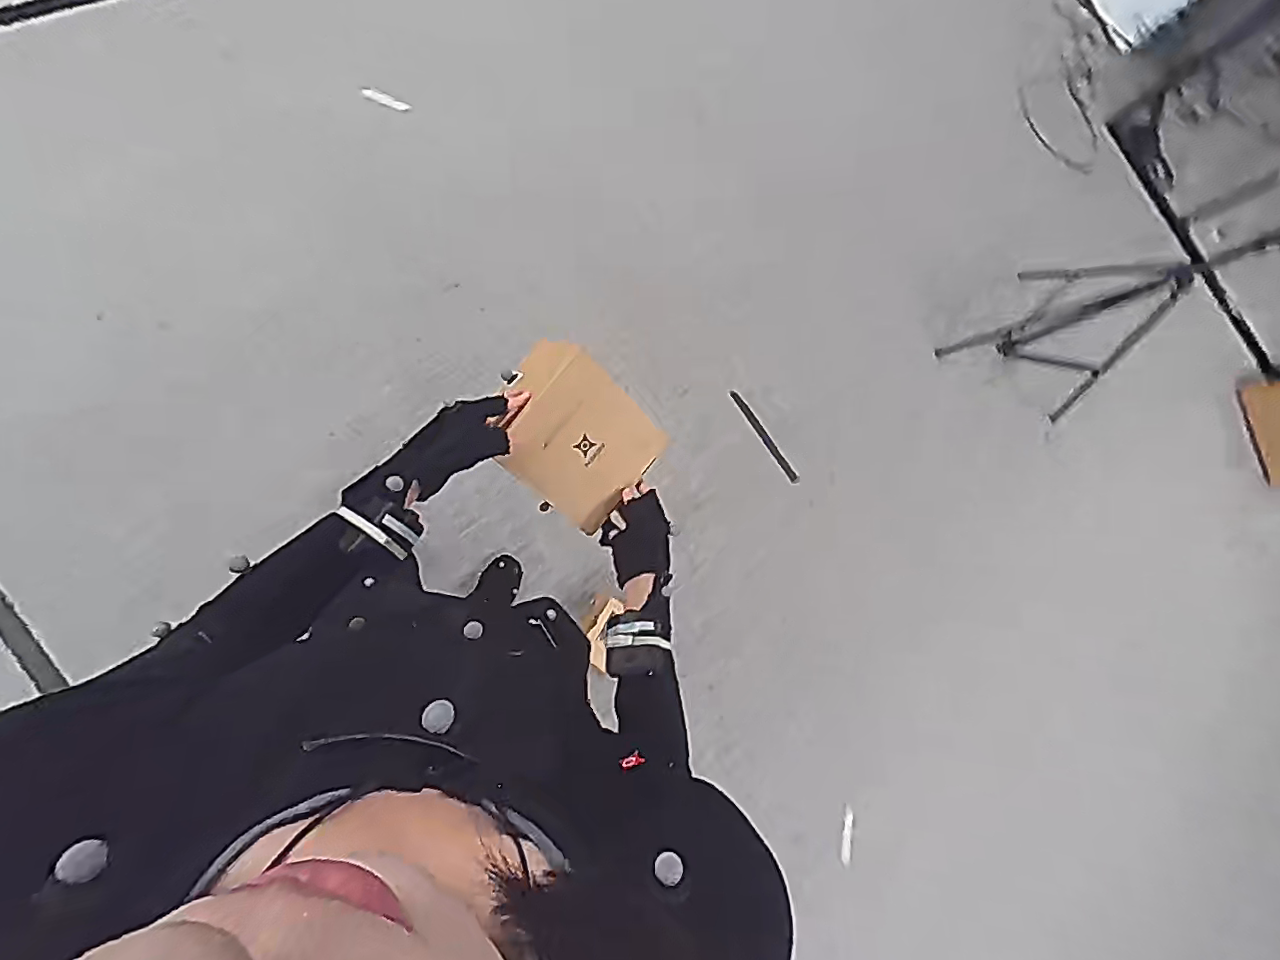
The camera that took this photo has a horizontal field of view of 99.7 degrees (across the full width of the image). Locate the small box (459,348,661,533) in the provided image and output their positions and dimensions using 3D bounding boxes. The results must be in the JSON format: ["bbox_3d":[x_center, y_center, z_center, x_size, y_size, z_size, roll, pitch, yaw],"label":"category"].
[{"bbox_3d":[-0.111,-0.062,0.720,0.179,0.176,0.168,42,82,-31],"label":"small box"}]

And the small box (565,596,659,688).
[{"bbox_3d":[-0.083,0.429,1.462,0.179,0.176,0.168,38,73,-8],"label":"small box"}]
